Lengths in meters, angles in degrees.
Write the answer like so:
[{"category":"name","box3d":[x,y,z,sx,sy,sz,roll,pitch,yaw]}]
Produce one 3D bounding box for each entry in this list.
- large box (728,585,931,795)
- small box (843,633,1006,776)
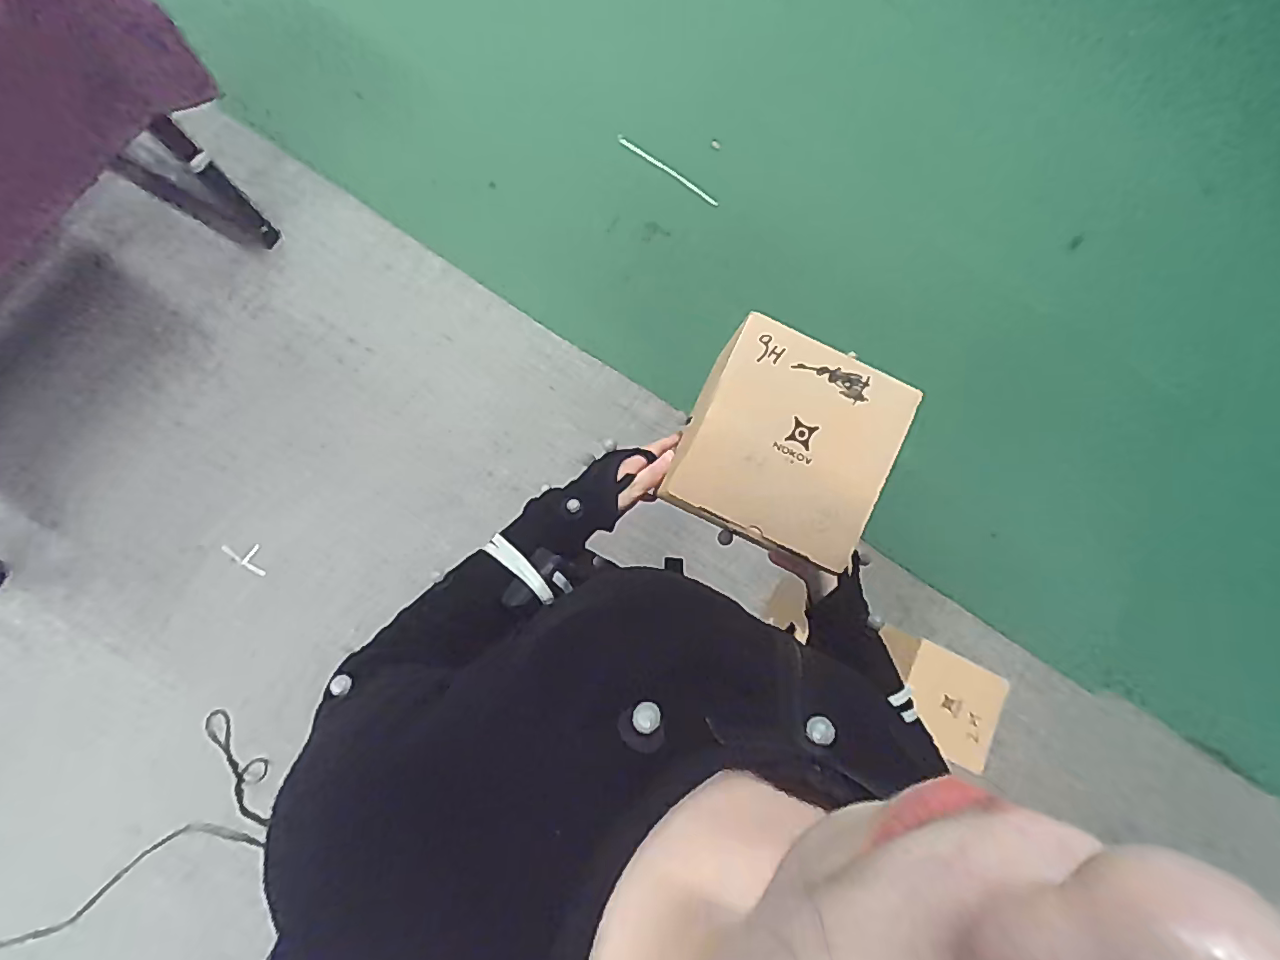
[{"category":"large box","box3d":[0.500,0.502,1.379,0.408,0.320,0.320,33,79,-2]},{"category":"small box","box3d":[0.503,0.392,0.981,0.179,0.176,0.168,28,80,-3]}]
